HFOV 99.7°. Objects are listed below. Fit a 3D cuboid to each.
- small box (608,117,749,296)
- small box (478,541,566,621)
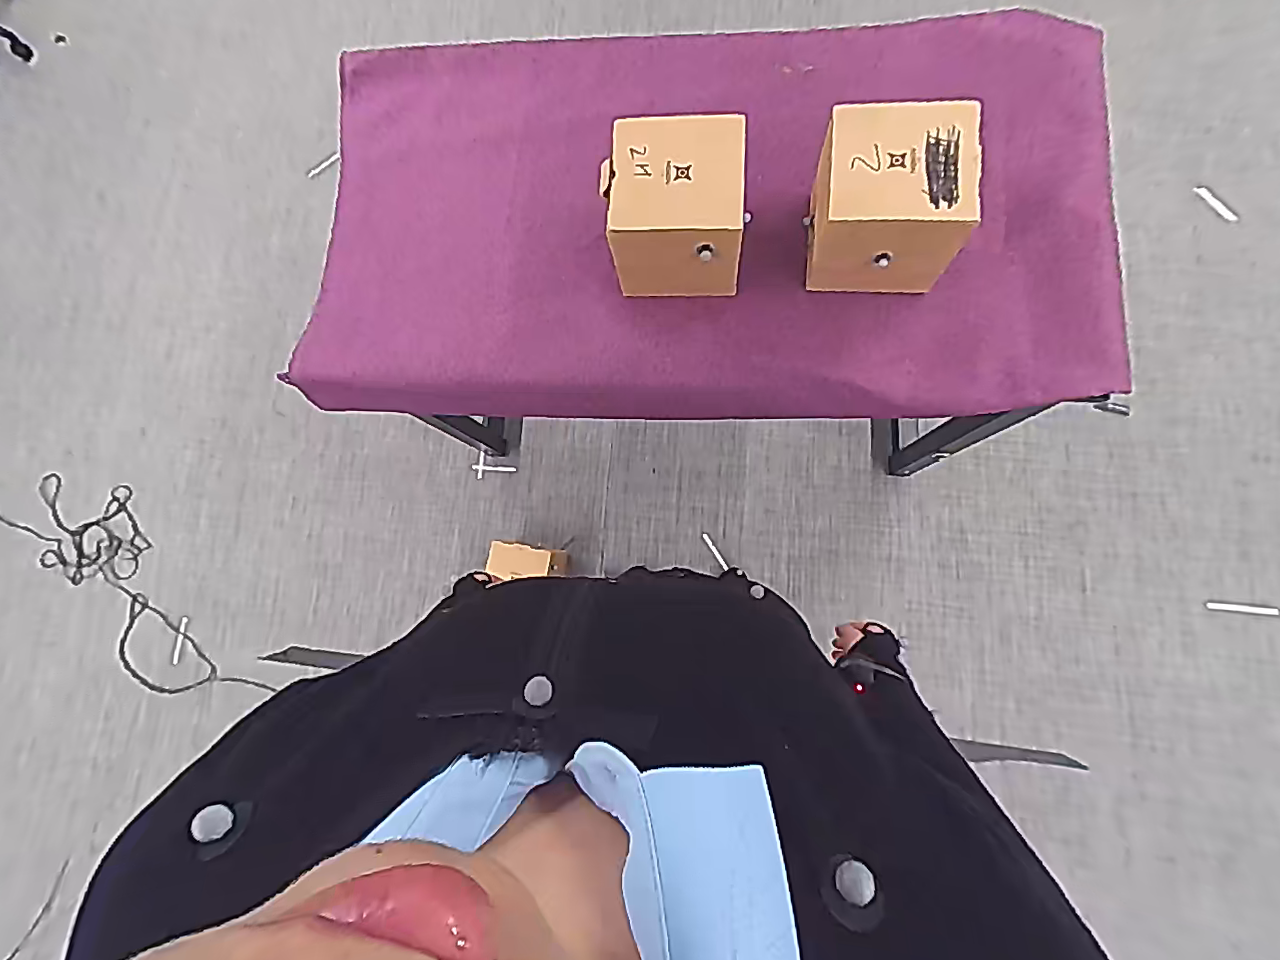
[{"bbox_3d":[0.058,-0.379,0.774,0.179,0.176,0.168,2,80,7],"label":"small box"},{"bbox_3d":[-0.310,0.269,1.456,0.168,0.176,0.179,9,82,8],"label":"small box"}]
